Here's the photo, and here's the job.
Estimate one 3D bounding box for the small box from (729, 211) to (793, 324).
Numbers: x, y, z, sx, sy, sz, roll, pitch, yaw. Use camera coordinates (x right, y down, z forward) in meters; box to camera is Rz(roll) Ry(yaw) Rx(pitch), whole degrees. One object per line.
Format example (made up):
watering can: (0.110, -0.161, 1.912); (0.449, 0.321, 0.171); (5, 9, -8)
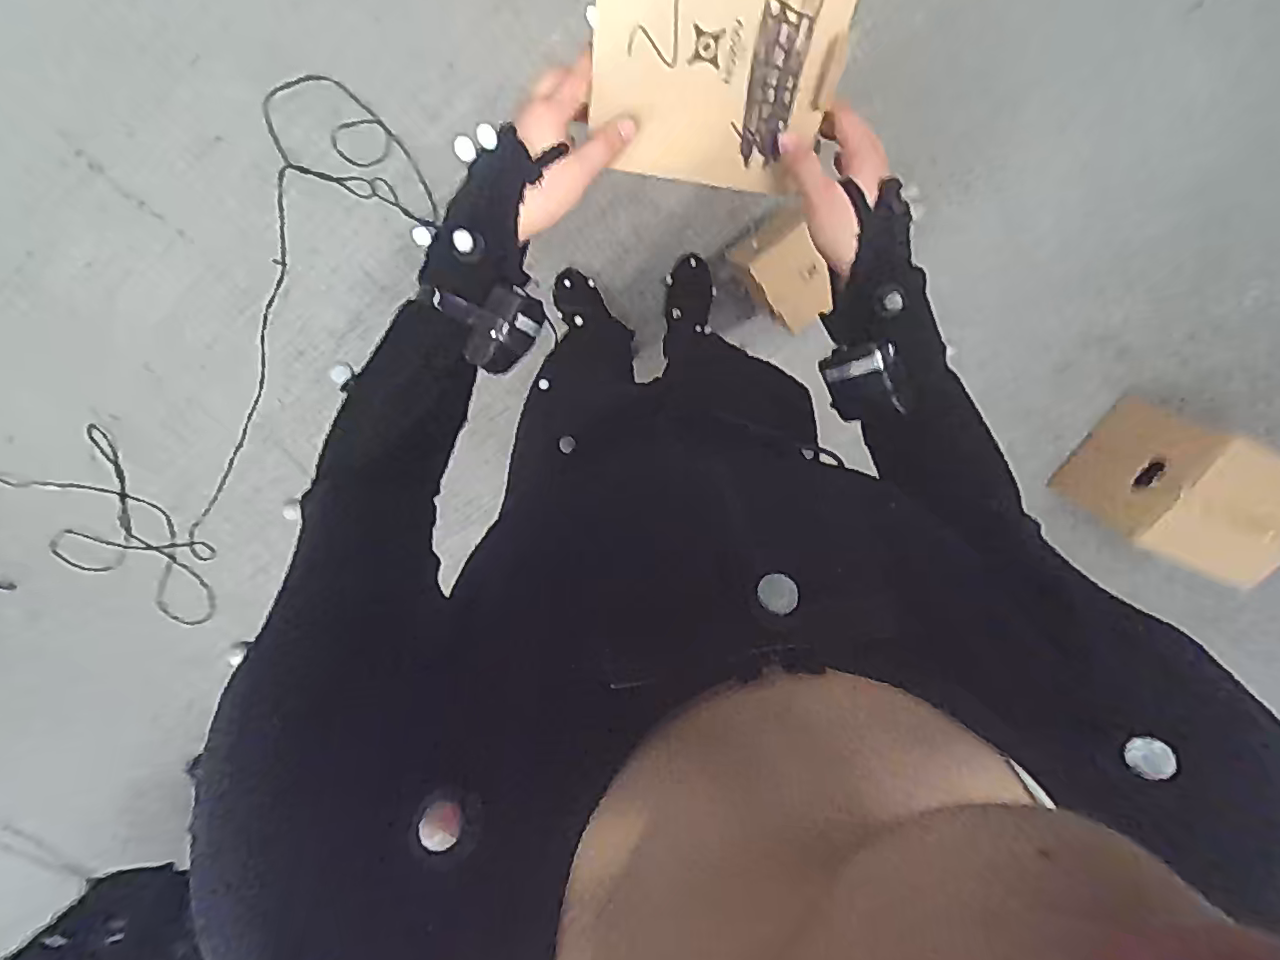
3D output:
small box: (0.319, -0.489, 1.237); (0.179, 0.176, 0.168); (-34, 113, 15)

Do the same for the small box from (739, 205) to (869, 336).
small box: (0.316, -0.422, 1.088); (0.179, 0.176, 0.168); (-38, 113, 15)
